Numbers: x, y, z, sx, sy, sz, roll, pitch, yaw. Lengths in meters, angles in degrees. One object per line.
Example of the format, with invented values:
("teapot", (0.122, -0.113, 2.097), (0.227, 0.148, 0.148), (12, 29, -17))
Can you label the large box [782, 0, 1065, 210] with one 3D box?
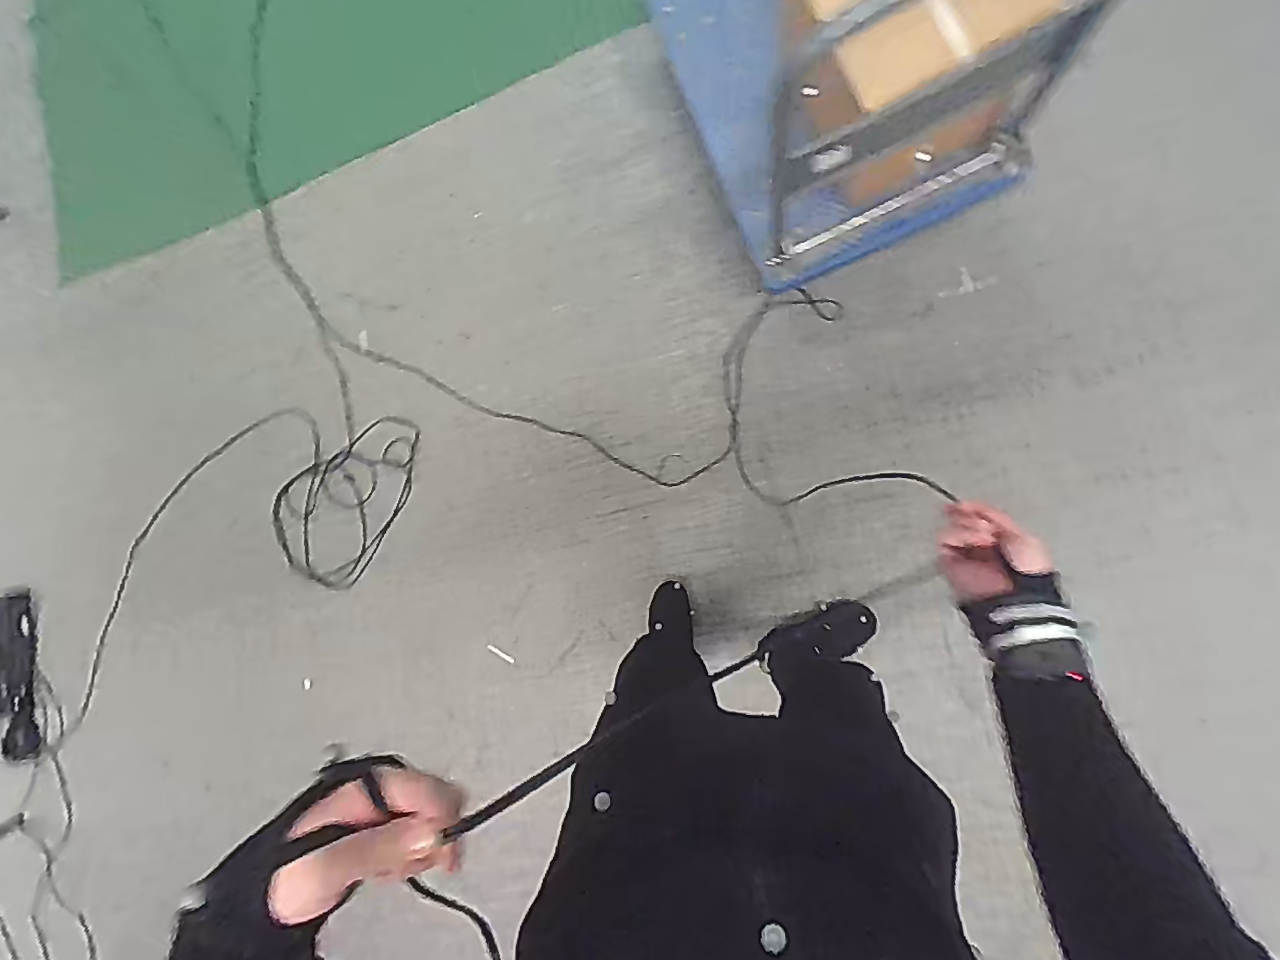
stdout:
("large box", (0.497, -0.834, 1.044), (0.320, 0.320, 0.408), (-23, 82, 13))
